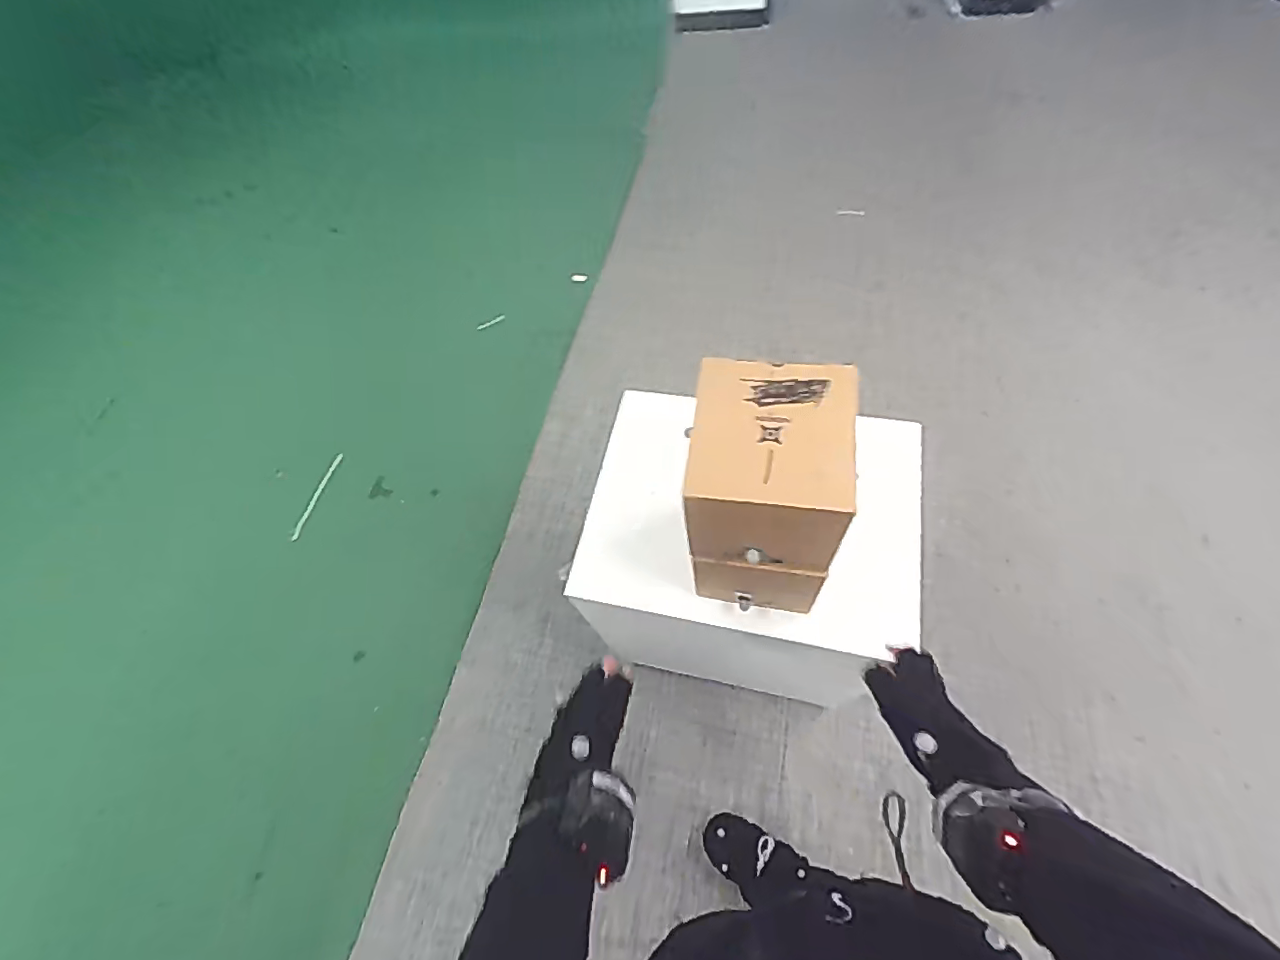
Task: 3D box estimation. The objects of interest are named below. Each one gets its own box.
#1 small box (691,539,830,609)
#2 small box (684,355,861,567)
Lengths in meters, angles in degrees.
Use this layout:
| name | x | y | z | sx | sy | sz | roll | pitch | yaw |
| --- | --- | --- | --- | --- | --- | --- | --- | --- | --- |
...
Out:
| name | x | y | z | sx | sy | sz | roll | pitch | yaw |
| --- | --- | --- | --- | --- | --- | --- | --- | --- | --- |
| small box | 0.169 | 0.063 | 0.750 | 0.168 | 0.176 | 0.179 | 5 | 64 | 13 |
| small box | 0.143 | -0.019 | 0.610 | 0.168 | 0.176 | 0.179 | 3 | 61 | 11 |
